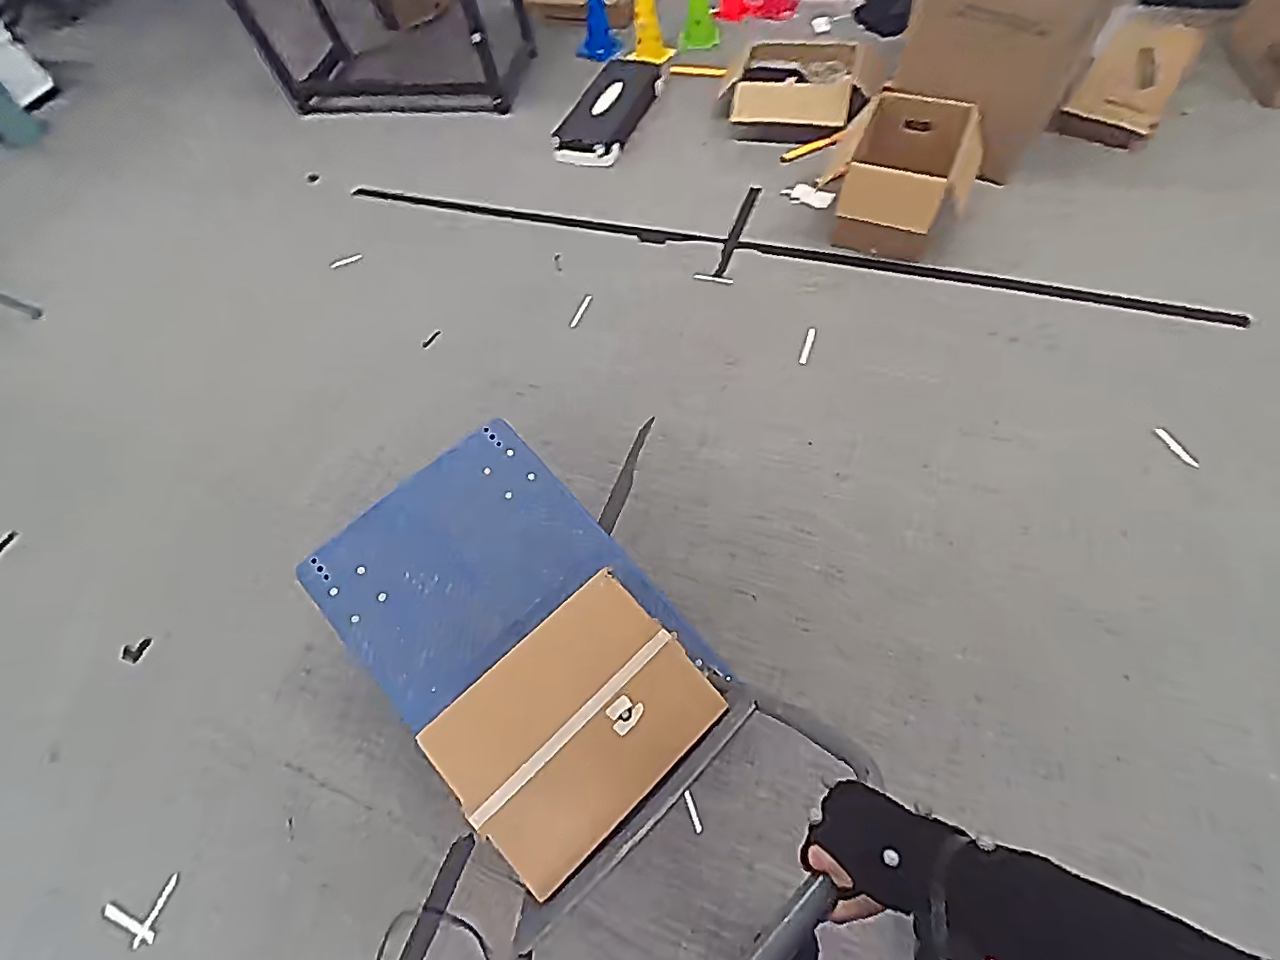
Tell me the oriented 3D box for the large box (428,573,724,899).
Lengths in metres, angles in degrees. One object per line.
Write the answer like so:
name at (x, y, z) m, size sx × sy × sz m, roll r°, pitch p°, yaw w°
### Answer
large box at (-0.110, 0.446, 1.029) m, size 0.408 × 0.320 × 0.320 m, roll -42°, pitch 80°, yaw -16°
